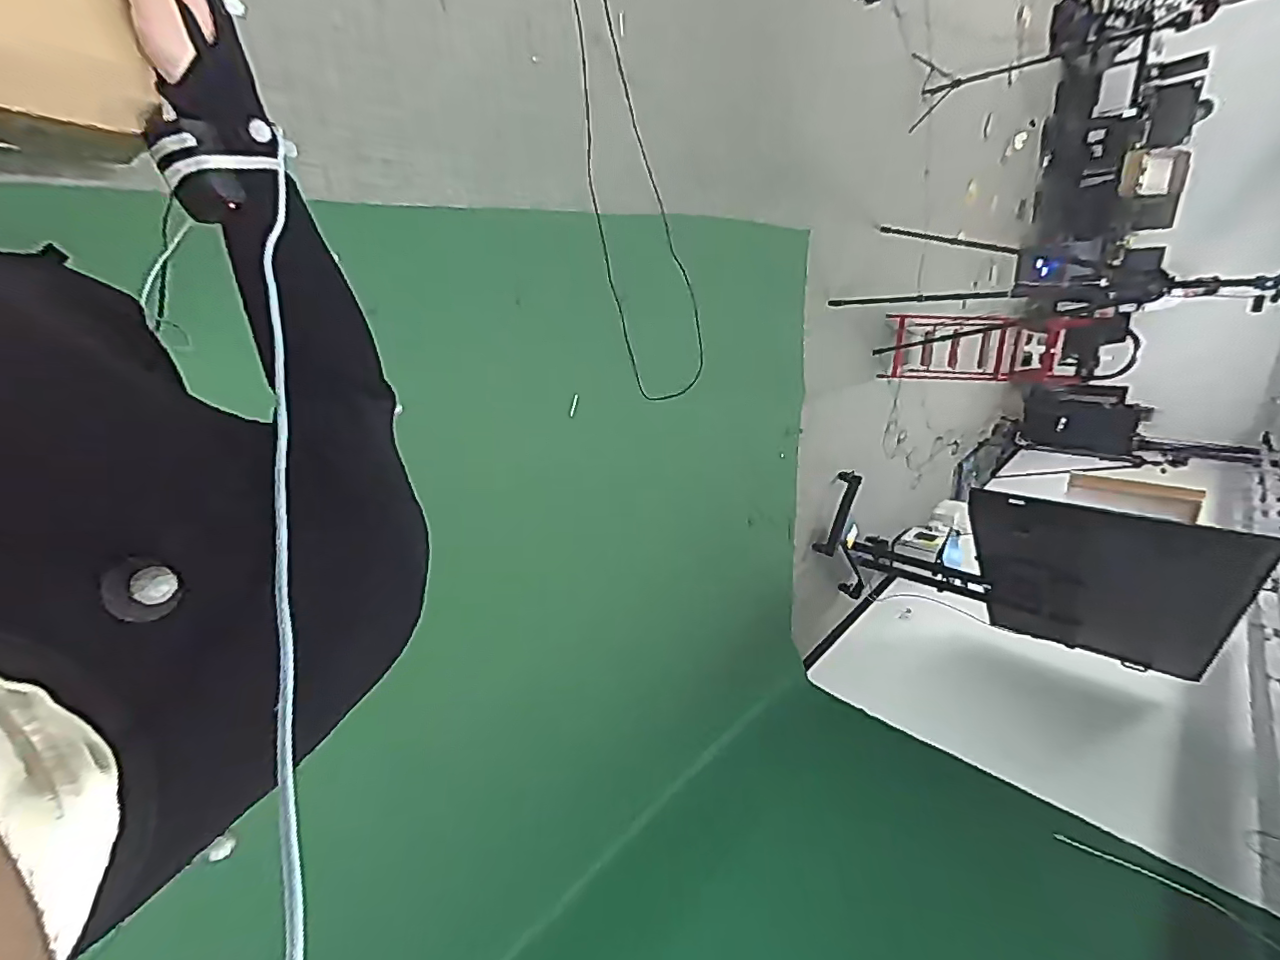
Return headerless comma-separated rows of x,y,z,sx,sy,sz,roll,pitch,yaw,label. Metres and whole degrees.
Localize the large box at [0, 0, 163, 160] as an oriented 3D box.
-0.612,-0.424,0.339,0.408,0.320,0.320,-15,119,-44,large box
